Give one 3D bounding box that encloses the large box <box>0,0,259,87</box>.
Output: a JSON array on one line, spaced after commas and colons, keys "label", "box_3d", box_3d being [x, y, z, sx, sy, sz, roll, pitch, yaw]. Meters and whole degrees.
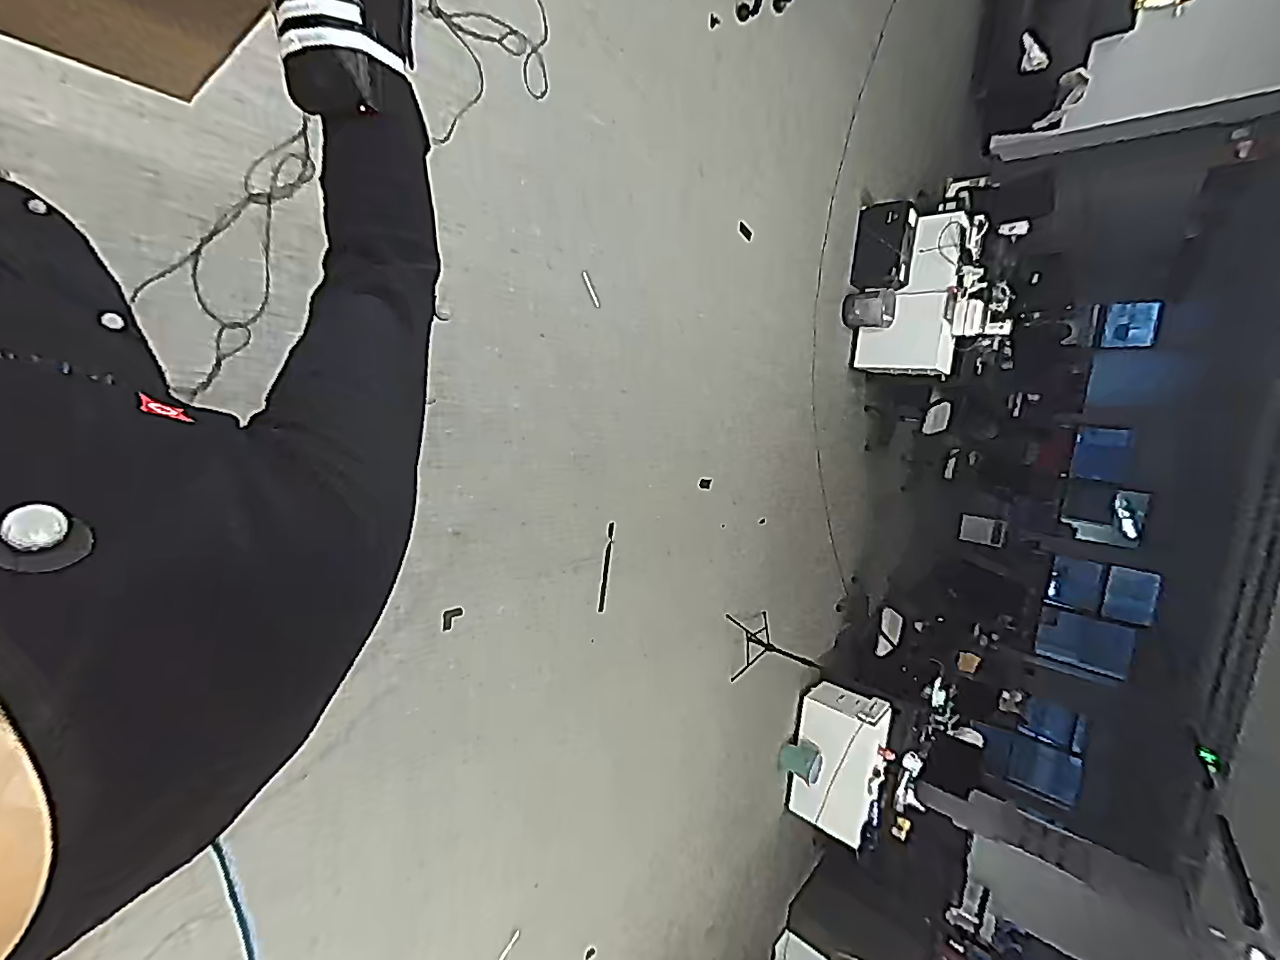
[{"label": "large box", "box_3d": [-0.448, -0.491, 0.264, 0.408, 0.320, 0.320, -6, 105, -51]}]
